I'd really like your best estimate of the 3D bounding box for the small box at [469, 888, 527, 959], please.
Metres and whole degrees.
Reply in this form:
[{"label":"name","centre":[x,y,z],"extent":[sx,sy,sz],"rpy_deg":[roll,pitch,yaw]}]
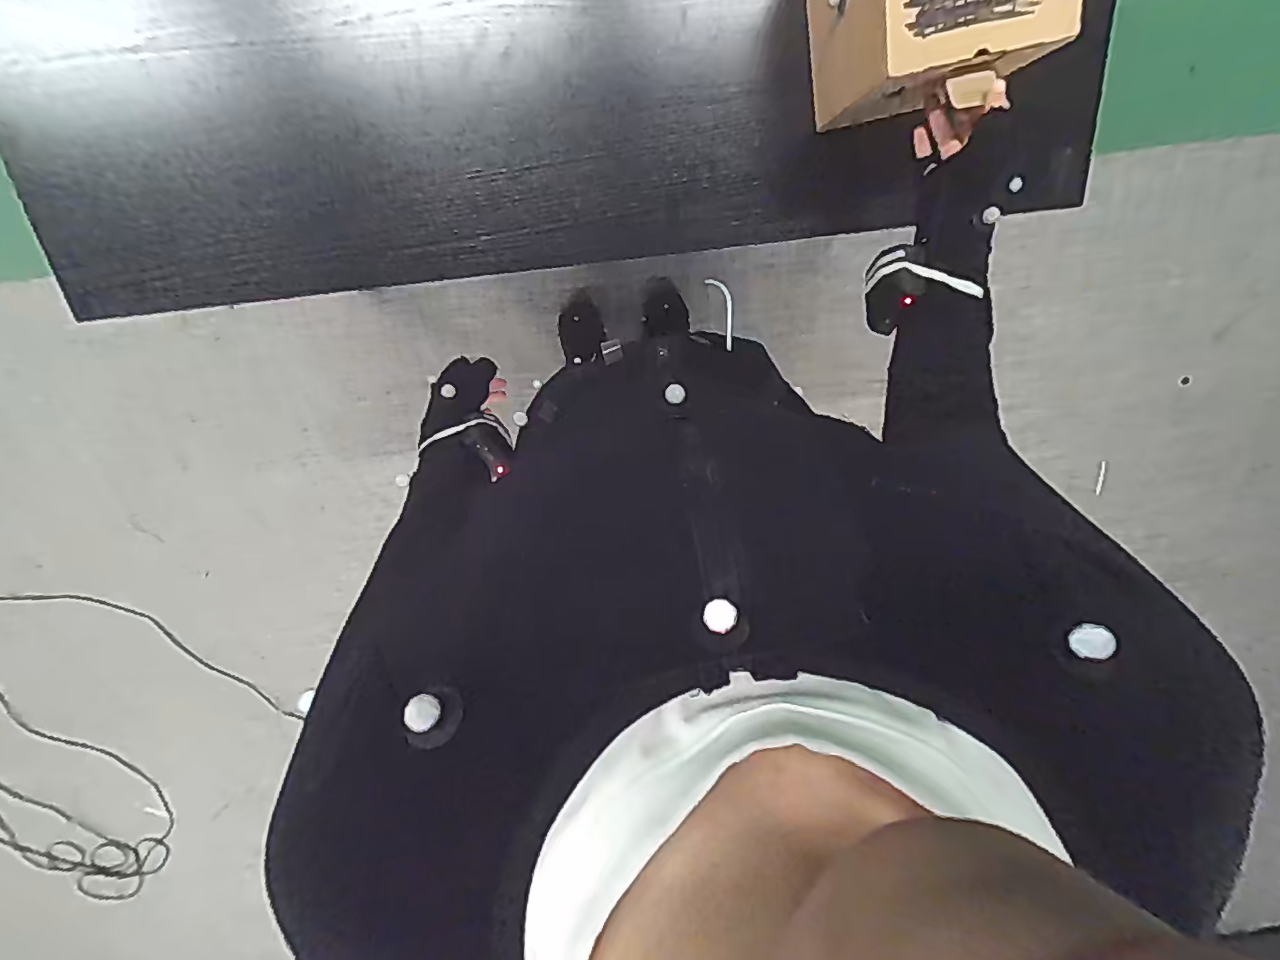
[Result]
[{"label":"small box","centre":[-0.525,1.666,2.018],"extent":[0.179,0.176,0.168],"rpy_deg":[-5,110,-2]}]
